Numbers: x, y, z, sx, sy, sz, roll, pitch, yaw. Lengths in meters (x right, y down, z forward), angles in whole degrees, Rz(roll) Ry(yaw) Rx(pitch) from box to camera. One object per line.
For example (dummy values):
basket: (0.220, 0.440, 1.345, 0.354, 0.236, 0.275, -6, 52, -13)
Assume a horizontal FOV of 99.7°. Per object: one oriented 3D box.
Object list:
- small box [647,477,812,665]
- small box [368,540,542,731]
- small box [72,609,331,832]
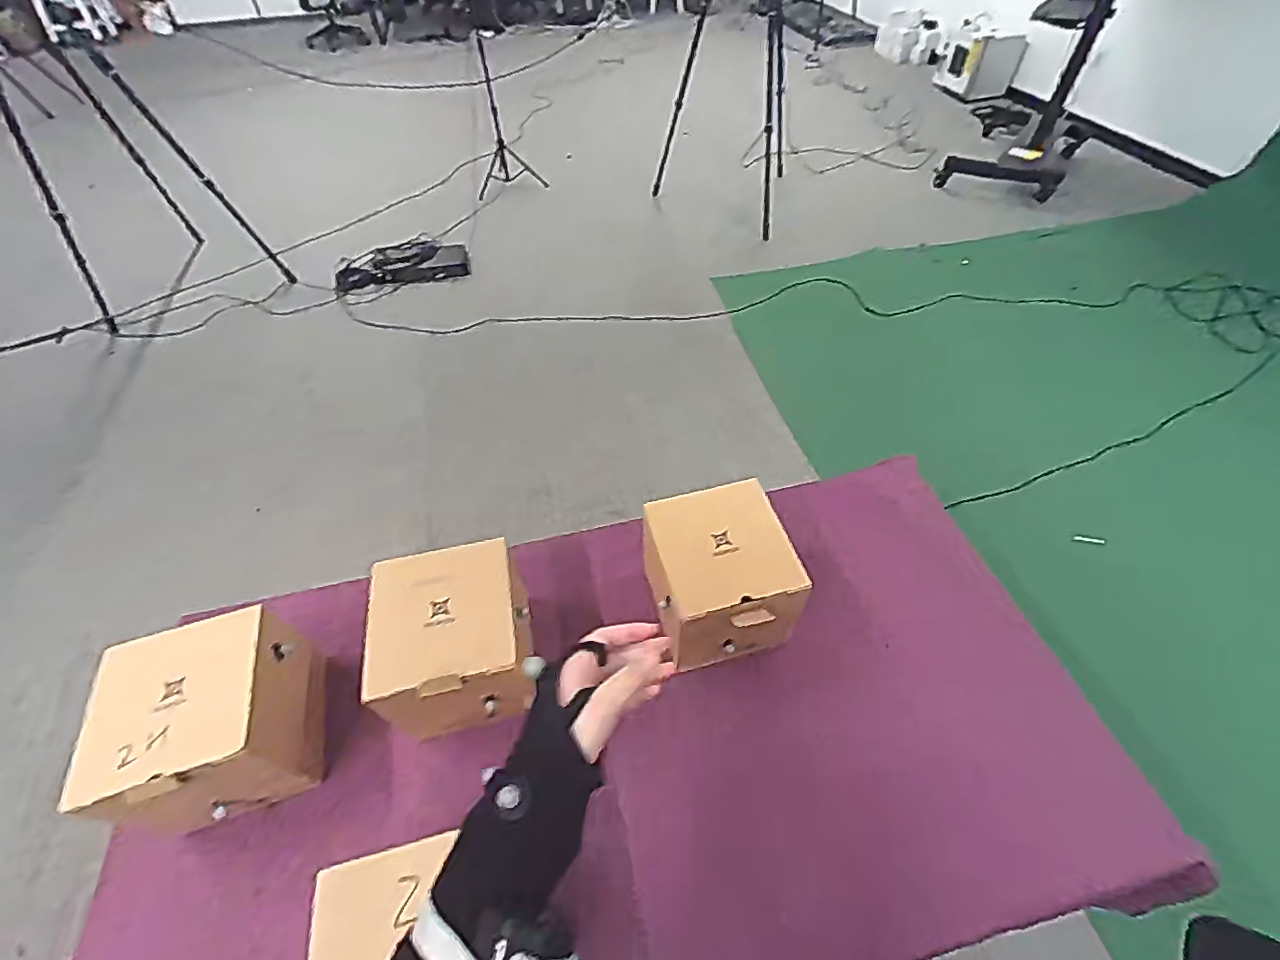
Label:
small box: (0.109, 0.127, 0.747, 0.168, 0.176, 0.179, -14, 52, -8)
small box: (-0.228, 0.207, 0.700, 0.168, 0.176, 0.179, -11, 51, -7)
small box: (-0.493, 0.287, 0.646, 0.168, 0.176, 0.179, -16, 52, -10)
